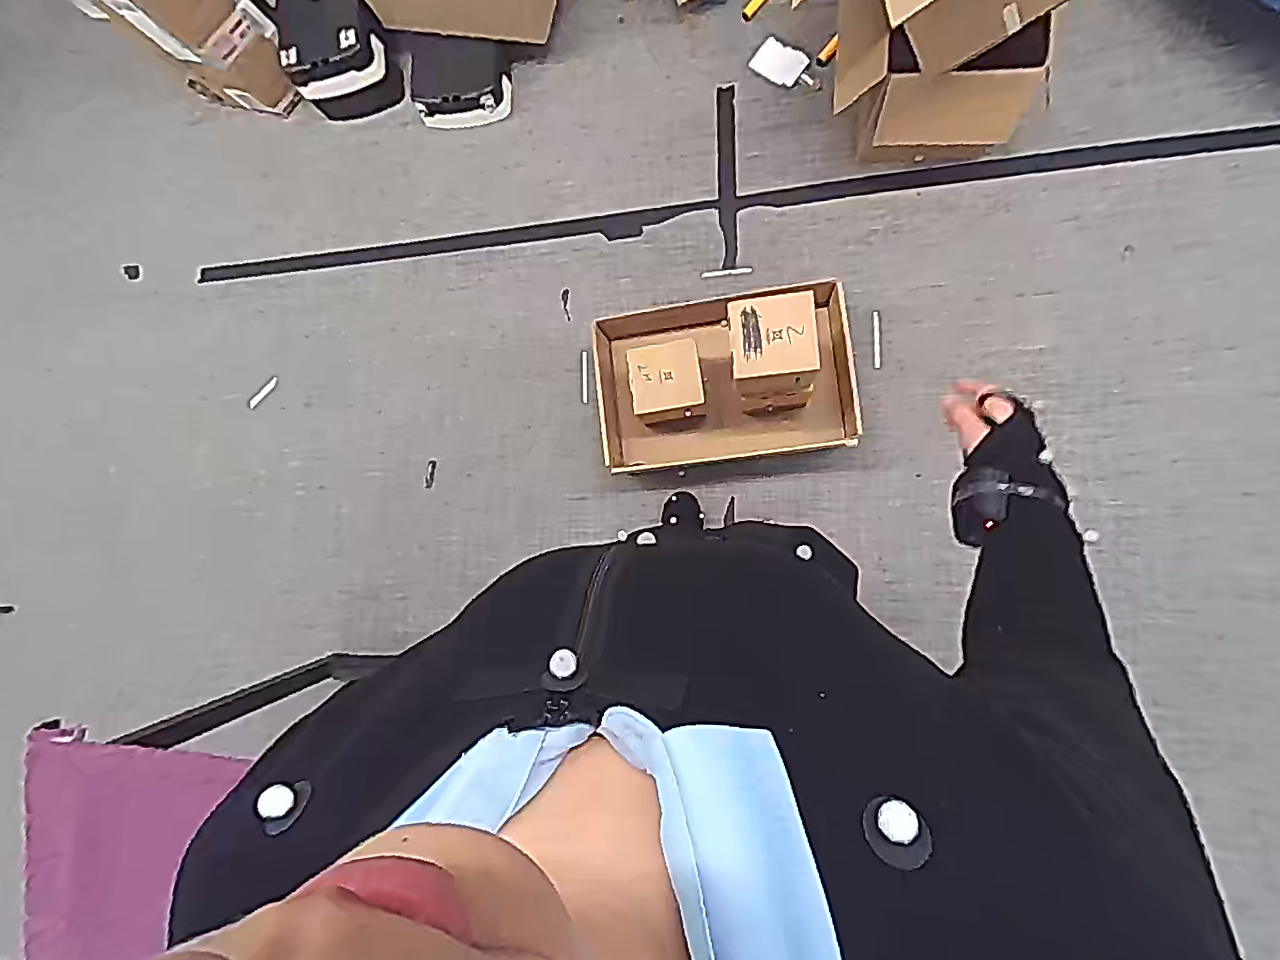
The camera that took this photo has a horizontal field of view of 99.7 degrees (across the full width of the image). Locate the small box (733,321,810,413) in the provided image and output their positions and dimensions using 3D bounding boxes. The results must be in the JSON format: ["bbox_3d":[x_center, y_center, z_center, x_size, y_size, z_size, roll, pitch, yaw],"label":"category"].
[{"bbox_3d":[0.322,-0.275,1.350,0.168,0.176,0.179,-7,87,11],"label":"small box"}]

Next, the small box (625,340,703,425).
[{"bbox_3d":[0.067,-0.245,1.390,0.179,0.176,0.168,-9,85,8],"label":"small box"}]
